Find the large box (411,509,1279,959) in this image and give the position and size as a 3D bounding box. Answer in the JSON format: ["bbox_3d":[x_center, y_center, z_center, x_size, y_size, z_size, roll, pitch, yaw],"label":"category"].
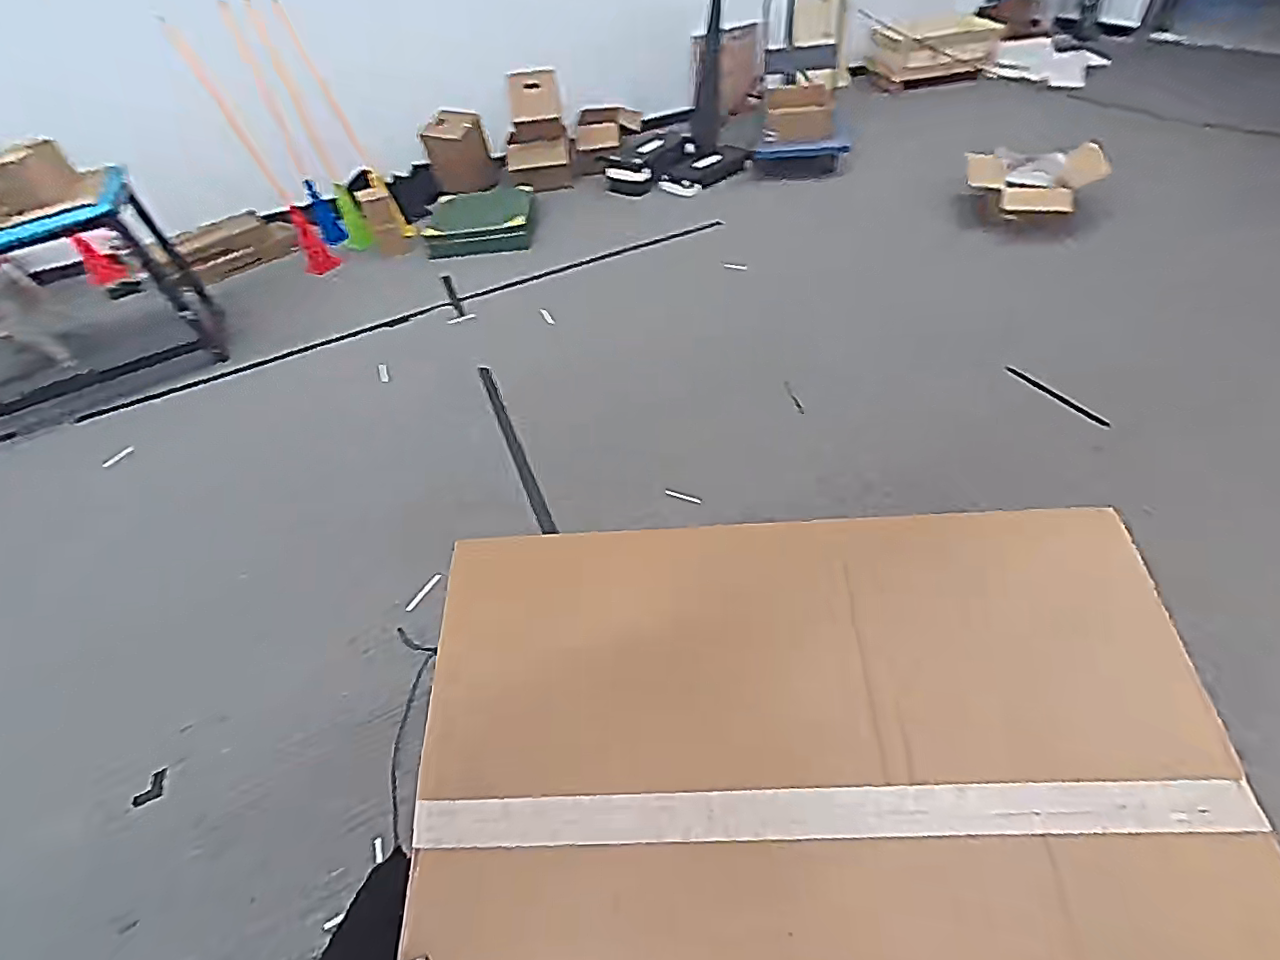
[{"bbox_3d":[0.095,0.239,0.408,0.408,0.320,0.320,-4,63,3],"label":"large box"}]
